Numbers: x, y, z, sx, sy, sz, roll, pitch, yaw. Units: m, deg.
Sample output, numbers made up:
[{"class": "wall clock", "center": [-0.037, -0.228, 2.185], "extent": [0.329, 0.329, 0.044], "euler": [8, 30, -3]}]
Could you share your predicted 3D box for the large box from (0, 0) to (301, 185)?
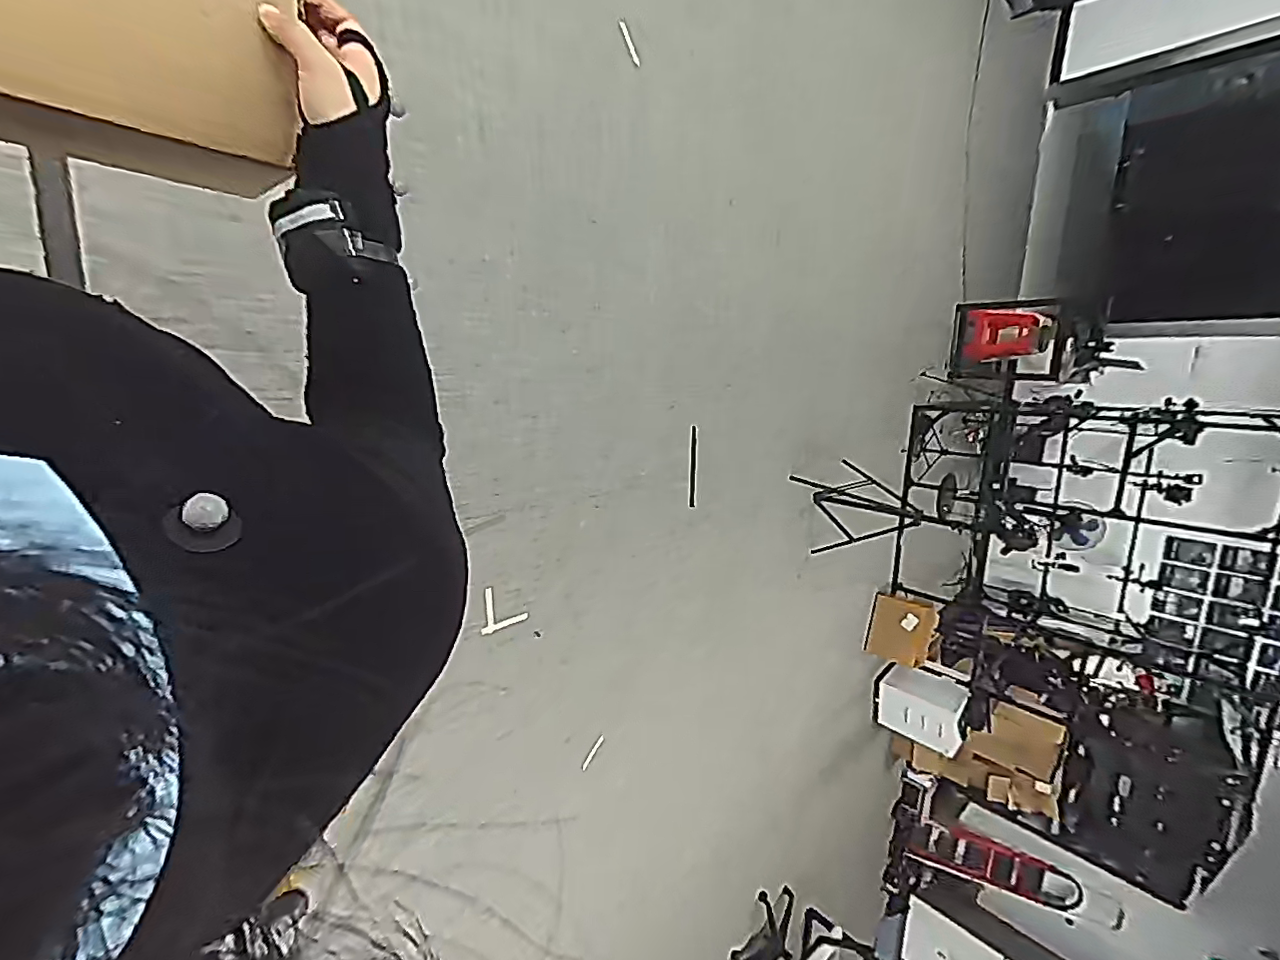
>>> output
[{"class": "large box", "center": [-0.494, -0.432, 0.376], "extent": [0.408, 0.320, 0.320], "euler": [-4, 109, -39]}]
